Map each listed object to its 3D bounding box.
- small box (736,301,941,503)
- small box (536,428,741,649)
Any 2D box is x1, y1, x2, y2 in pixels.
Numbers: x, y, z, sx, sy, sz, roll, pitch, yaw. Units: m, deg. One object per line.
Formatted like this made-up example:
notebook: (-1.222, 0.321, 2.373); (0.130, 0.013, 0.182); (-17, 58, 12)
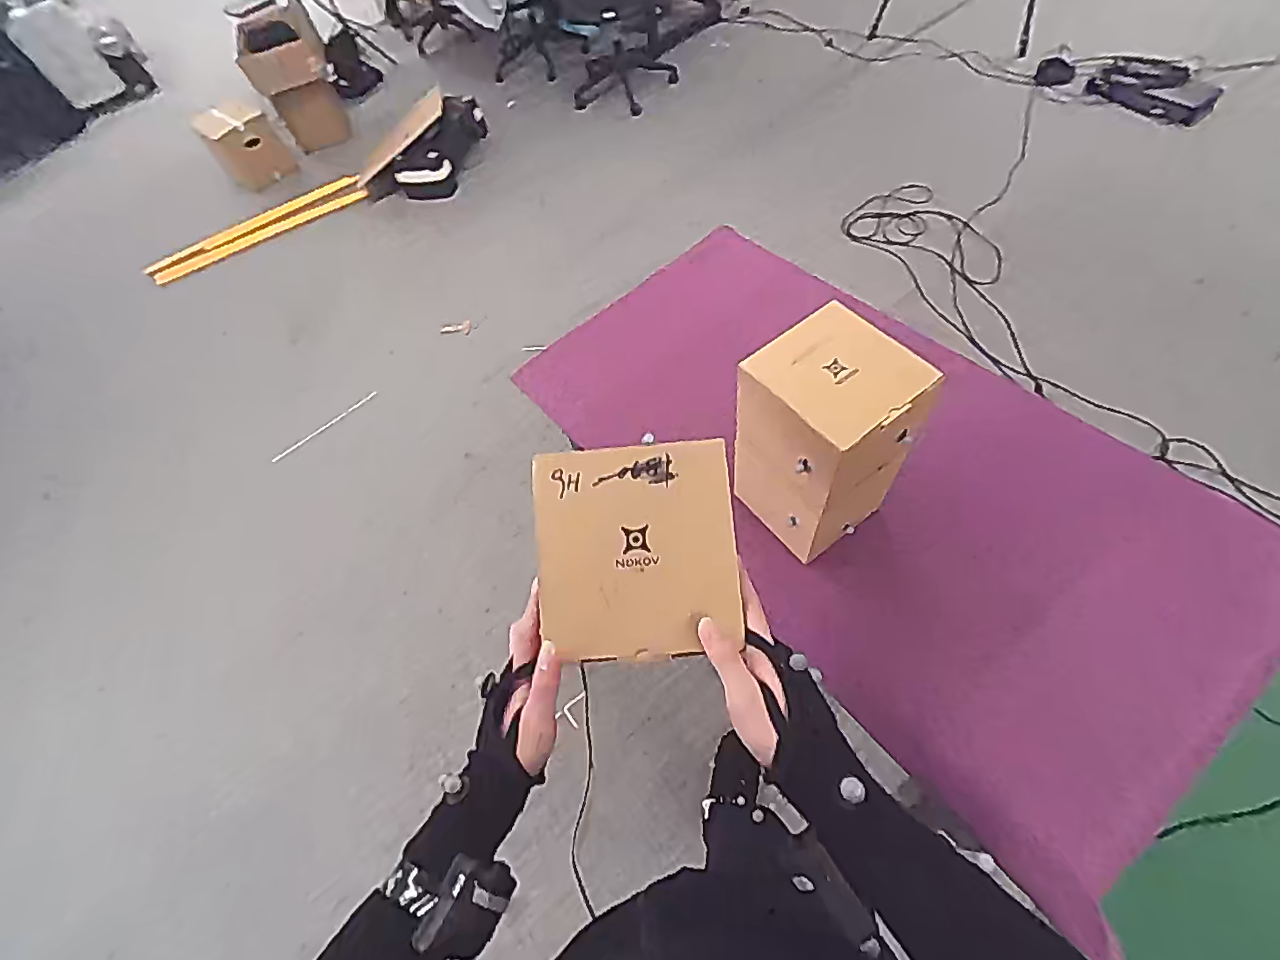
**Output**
small box: (0.246, -0.091, 0.713); (0.168, 0.176, 0.179); (-35, 60, -11)
small box: (0.002, 0.056, 0.525); (0.168, 0.176, 0.179); (-4, 82, 3)
